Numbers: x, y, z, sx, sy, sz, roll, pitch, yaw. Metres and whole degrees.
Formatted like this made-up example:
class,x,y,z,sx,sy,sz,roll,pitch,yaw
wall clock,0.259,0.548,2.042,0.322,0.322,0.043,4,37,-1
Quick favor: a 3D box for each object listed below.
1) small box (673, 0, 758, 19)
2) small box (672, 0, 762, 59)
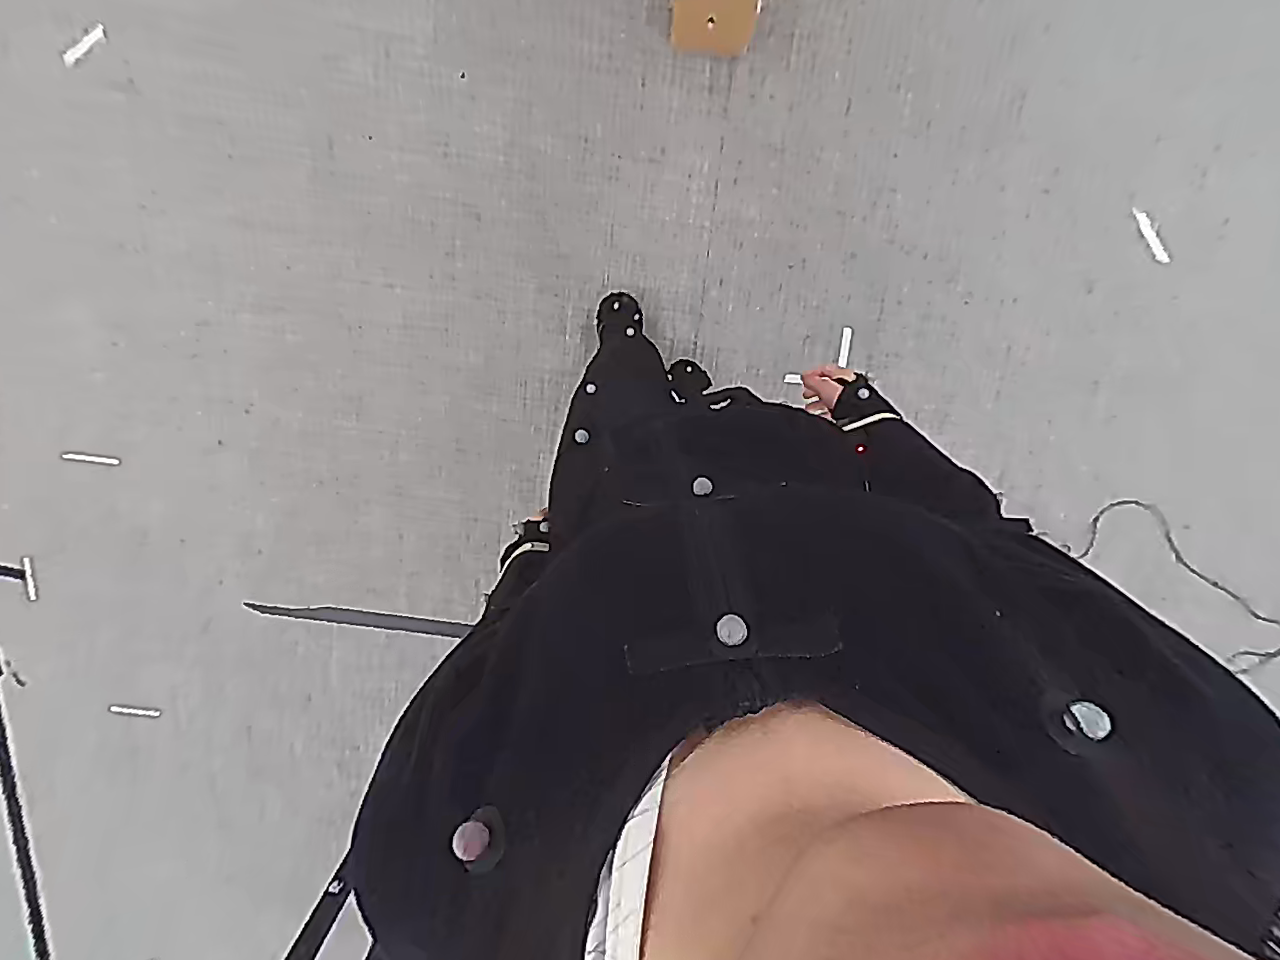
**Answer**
class,x,y,z,sx,sy,sz,roll,pitch,yaw
small box,0.157,-1.008,1.005,0.179,0.176,0.168,9,104,-1
small box,0.168,-1.048,1.164,0.179,0.176,0.168,7,104,0
